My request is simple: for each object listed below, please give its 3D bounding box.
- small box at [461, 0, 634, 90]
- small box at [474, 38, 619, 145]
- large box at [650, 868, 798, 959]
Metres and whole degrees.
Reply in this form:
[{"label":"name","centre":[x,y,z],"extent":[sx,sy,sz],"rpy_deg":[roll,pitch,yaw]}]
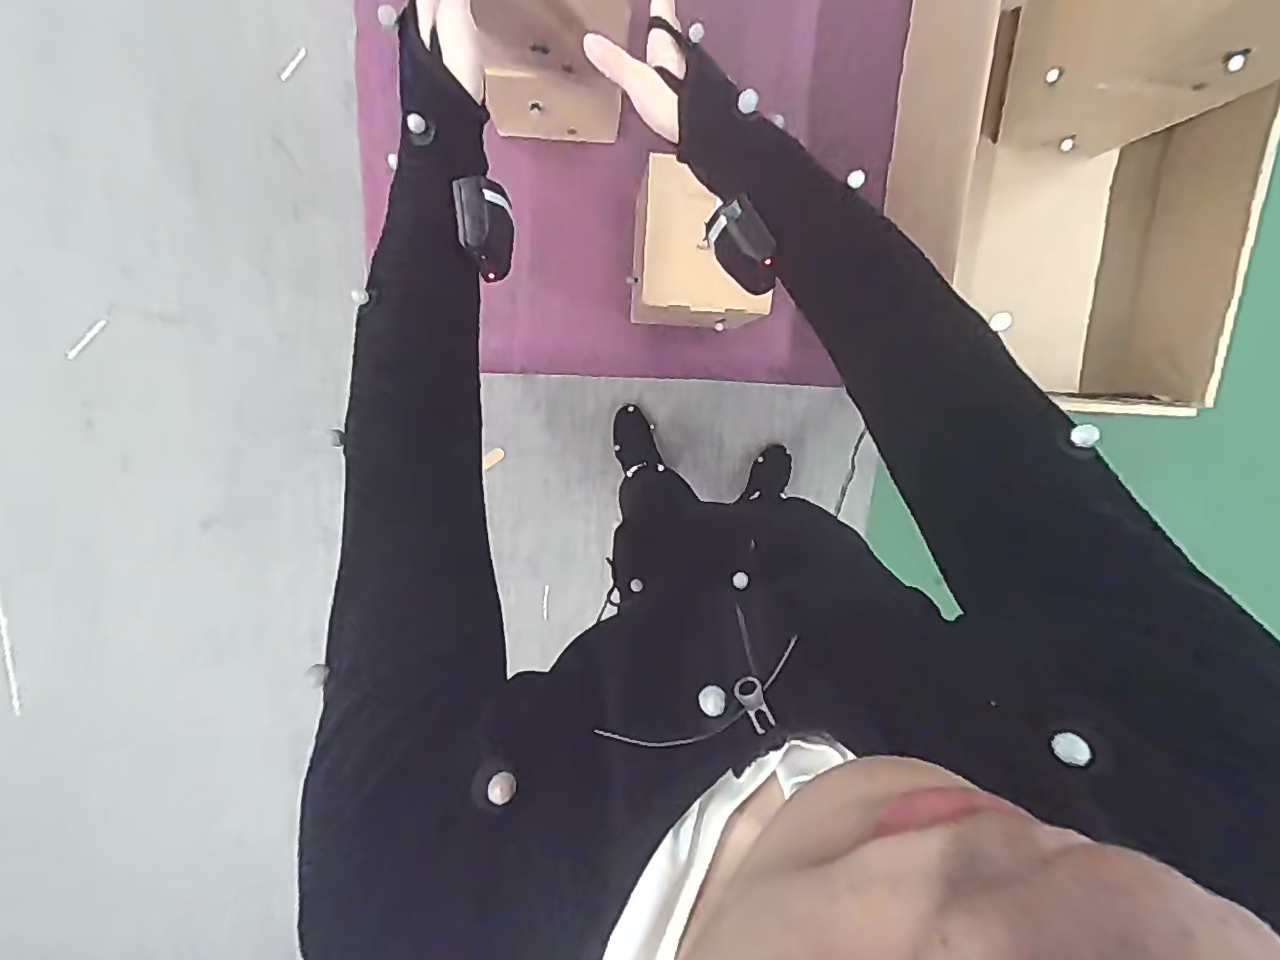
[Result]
[{"label":"small box","centre":[-0.085,-0.520,0.514],"extent":[0.168,0.176,0.179],"rpy_deg":[5,100,-6]},{"label":"small box","centre":[-0.107,-0.547,0.675],"extent":[0.168,0.176,0.179],"rpy_deg":[0,99,-5]},{"label":"large box","centre":[0.291,1.595,1.763],"extent":[0.408,0.320,0.320],"rpy_deg":[-30,102,0]}]
